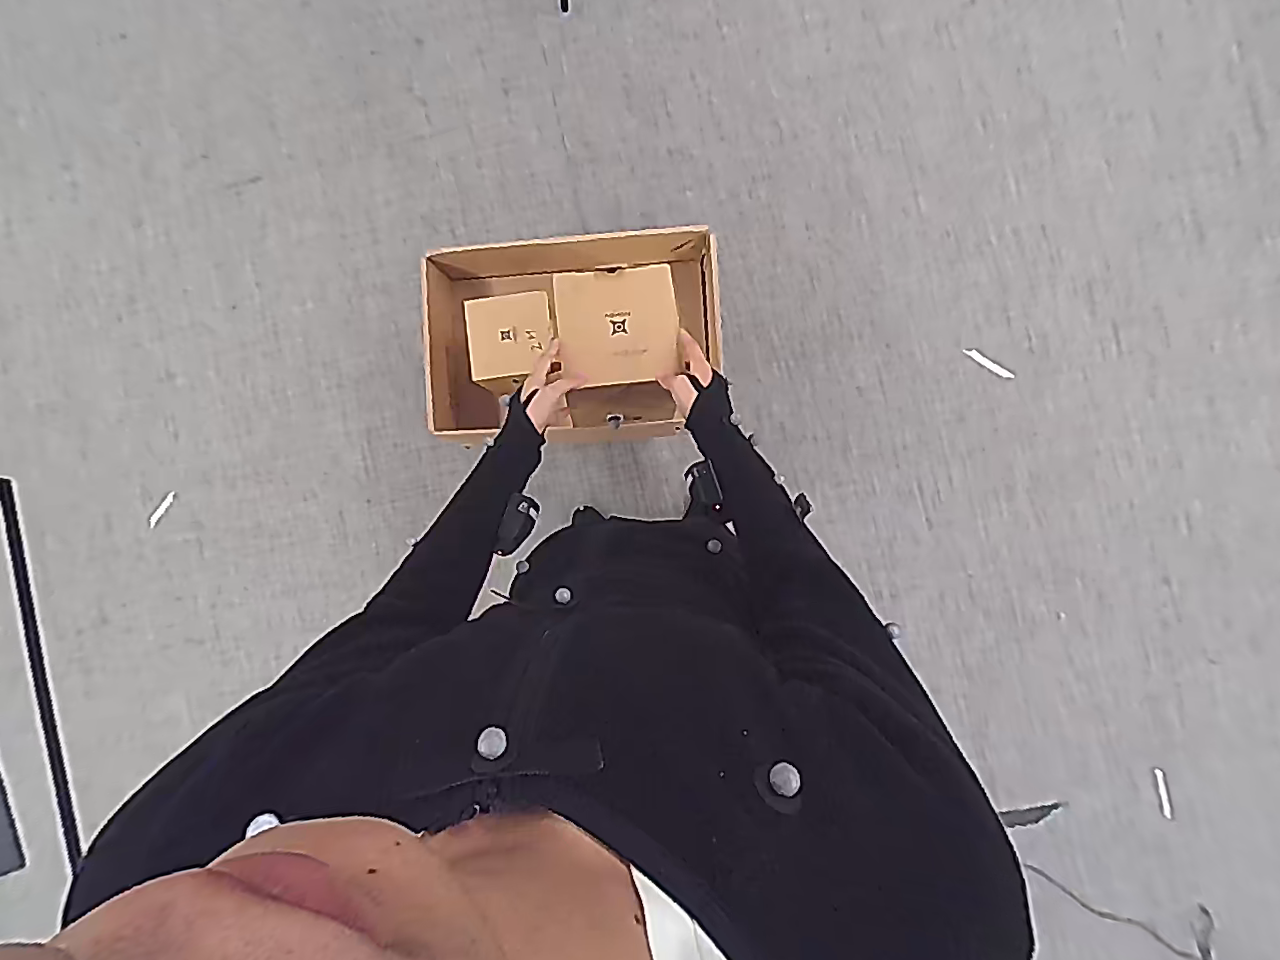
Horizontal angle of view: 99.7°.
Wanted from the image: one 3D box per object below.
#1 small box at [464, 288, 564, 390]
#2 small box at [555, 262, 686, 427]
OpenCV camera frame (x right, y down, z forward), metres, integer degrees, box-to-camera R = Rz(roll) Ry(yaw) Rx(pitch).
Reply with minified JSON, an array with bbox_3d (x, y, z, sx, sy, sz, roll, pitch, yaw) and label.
[{"bbox_3d":[-0.258,-0.295,1.164,0.179,0.176,0.168,-6,90,3],"label":"small box"},{"bbox_3d":[-0.033,-0.194,0.803,0.168,0.176,0.179,-6,76,-4],"label":"small box"}]
